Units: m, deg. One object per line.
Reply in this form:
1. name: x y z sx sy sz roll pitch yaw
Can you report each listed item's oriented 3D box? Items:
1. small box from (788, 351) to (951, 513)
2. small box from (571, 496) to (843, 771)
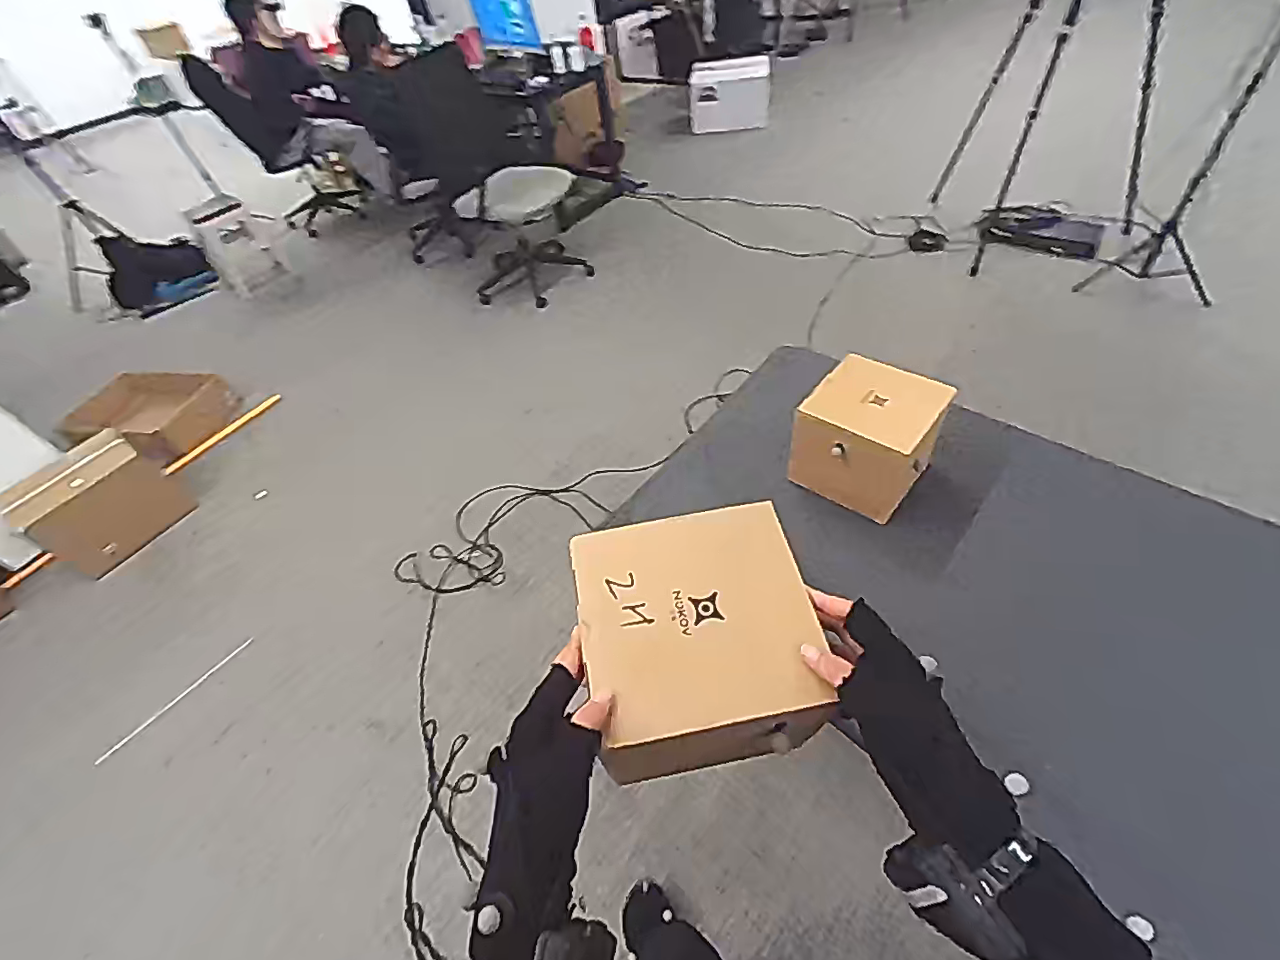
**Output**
1. small box: 0.357 -0.072 0.868 0.179 0.176 0.168 29 61 32
2. small box: 0.044 0.138 0.469 0.179 0.176 0.168 -10 54 -3
